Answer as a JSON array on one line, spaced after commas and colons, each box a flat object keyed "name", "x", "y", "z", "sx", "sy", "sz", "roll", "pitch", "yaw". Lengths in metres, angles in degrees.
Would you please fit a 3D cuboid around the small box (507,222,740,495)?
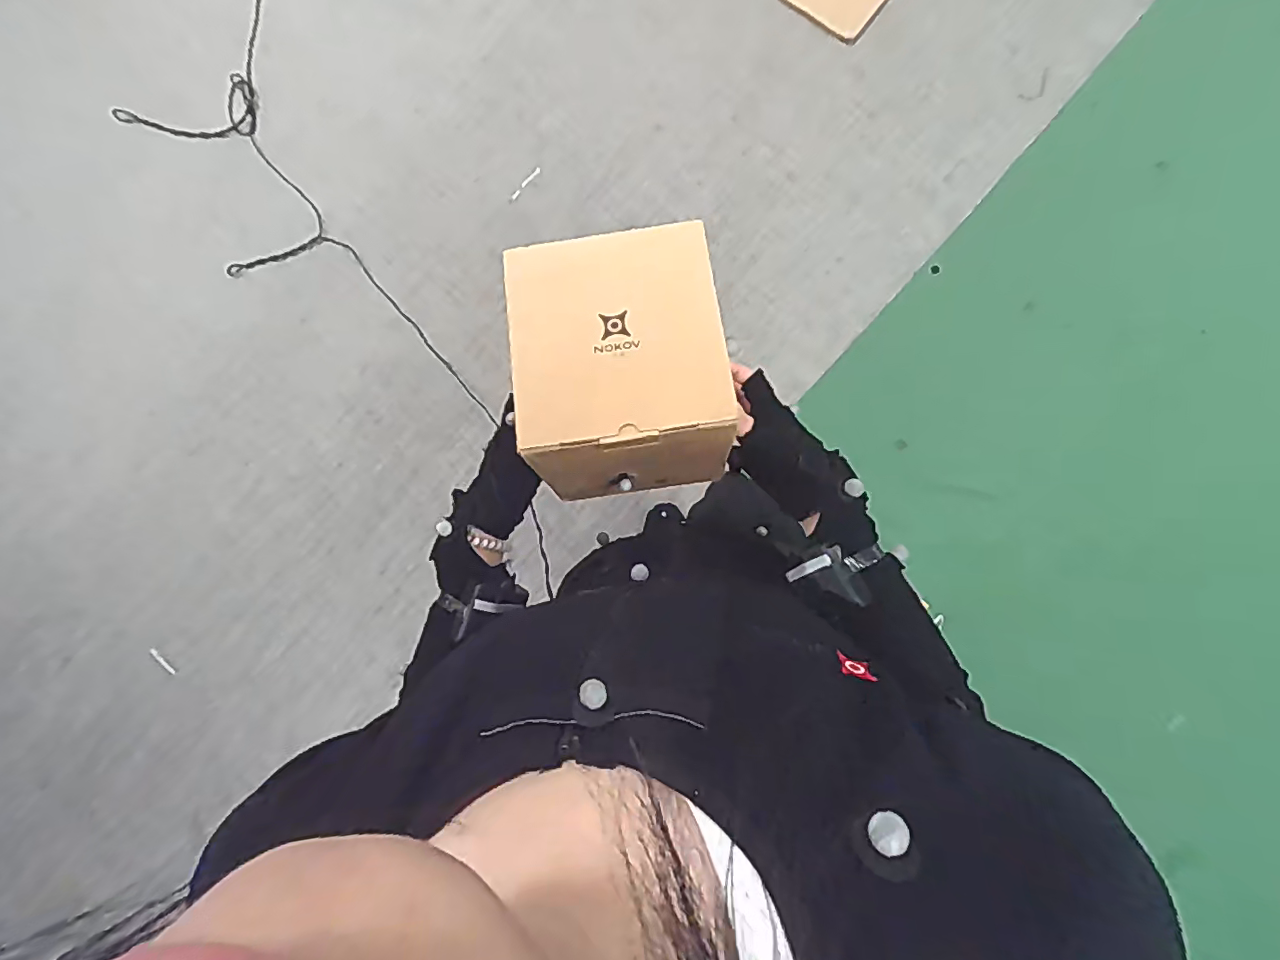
[{"name": "small box", "x": -0.014, "y": -0.096, "z": 0.494, "sx": 0.168, "sy": 0.176, "sz": 0.179, "roll": -9, "pitch": 76, "yaw": 1}]
